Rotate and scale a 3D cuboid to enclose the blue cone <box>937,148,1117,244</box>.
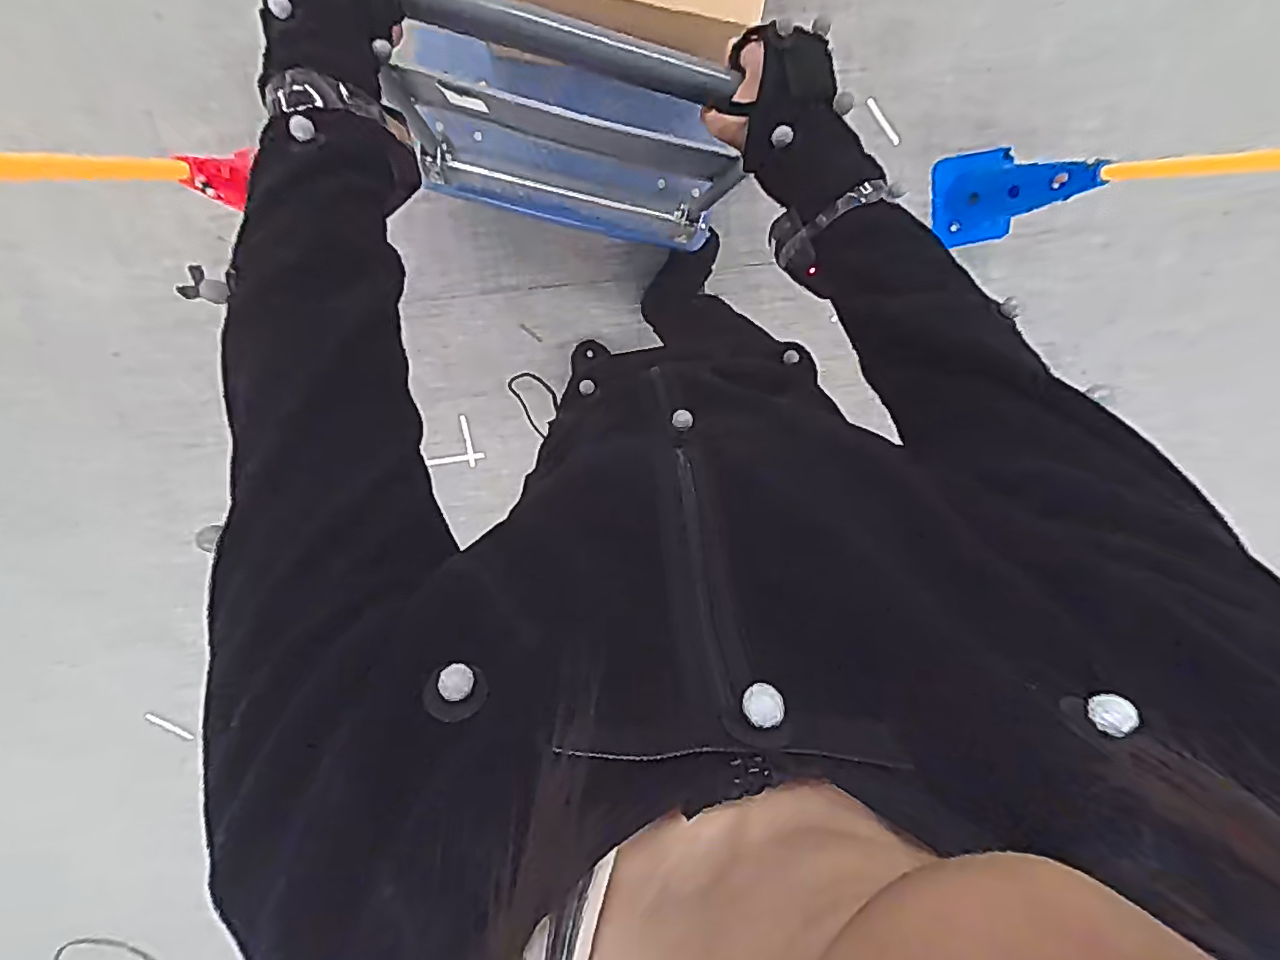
[{"bbox_3d":[0.820,-0.623,1.143,0.193,0.380,0.192,-11,110,-3],"label":"blue cone"}]
